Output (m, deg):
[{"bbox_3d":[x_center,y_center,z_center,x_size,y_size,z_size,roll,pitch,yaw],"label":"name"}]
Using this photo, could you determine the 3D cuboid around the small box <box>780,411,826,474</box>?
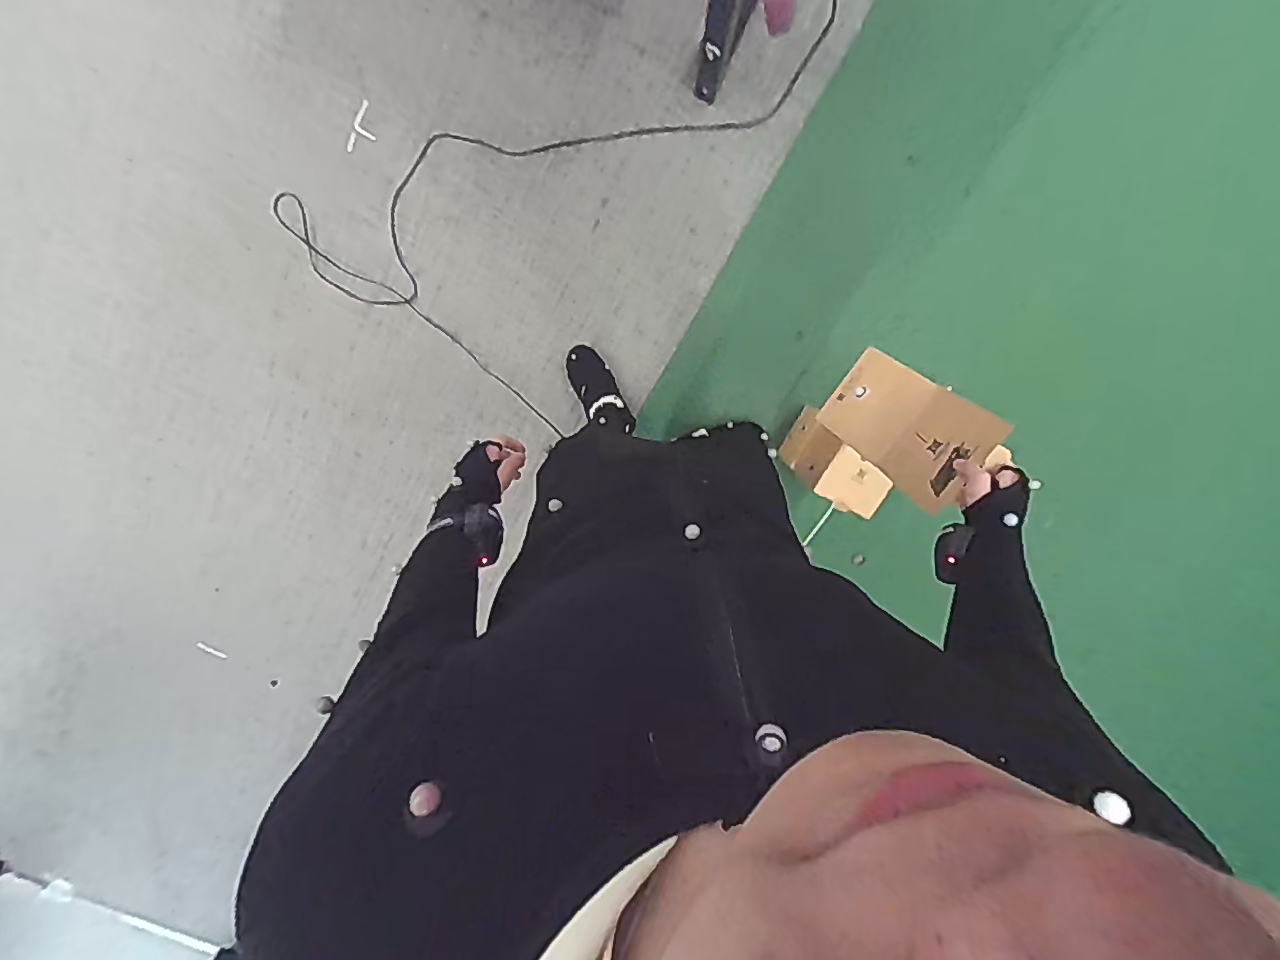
[{"bbox_3d":[0.515,-0.082,1.508,0.179,0.176,0.168,27,105,-7],"label":"small box"}]

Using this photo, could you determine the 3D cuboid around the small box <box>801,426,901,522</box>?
[{"bbox_3d":[0.525,-0.027,1.355,0.168,0.176,0.179,26,105,-8],"label":"small box"}]

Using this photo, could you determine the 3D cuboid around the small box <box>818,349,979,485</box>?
[{"bbox_3d":[0.472,-0.118,1.001,0.179,0.176,0.168,17,116,-38],"label":"small box"}]
